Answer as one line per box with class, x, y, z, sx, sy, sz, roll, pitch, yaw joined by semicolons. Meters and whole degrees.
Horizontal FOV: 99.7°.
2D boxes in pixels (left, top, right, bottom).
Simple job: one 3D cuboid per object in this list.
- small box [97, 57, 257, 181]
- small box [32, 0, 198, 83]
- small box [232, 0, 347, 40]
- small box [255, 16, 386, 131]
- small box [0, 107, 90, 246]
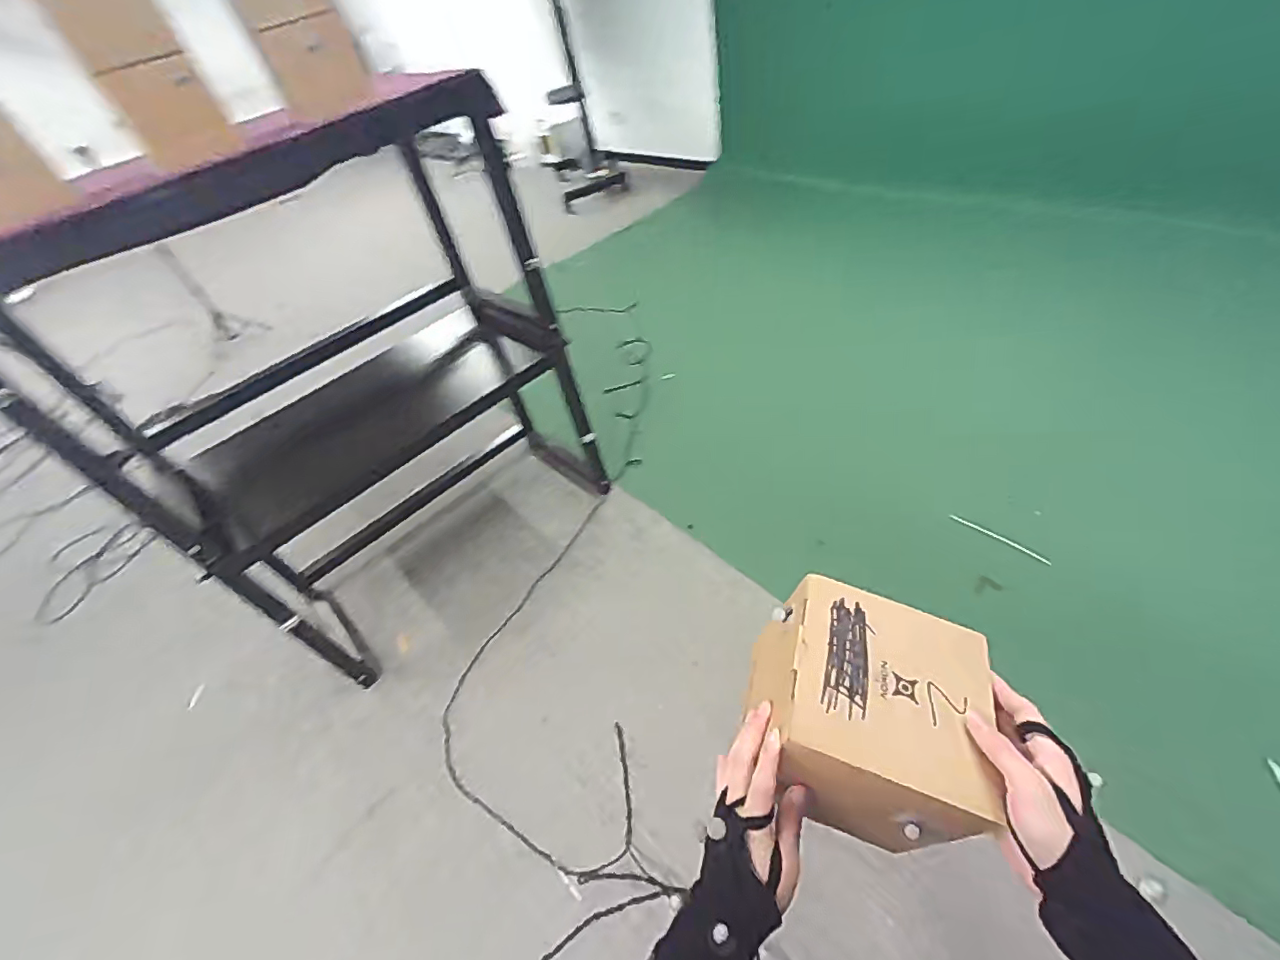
small box;-0.936;-0.729;1.101;0.179;0.176;0.168;-40;49;-24
small box;-0.969;-0.845;0.989;0.179;0.176;0.168;-39;49;-23
small box;-0.744;-1.020;1.101;0.179;0.176;0.168;-38;50;-20
small box;-0.712;-0.907;1.215;0.179;0.176;0.168;-36;48;-20
small box;-1.151;-0.547;0.973;0.168;0.176;0.179;29;60;36
